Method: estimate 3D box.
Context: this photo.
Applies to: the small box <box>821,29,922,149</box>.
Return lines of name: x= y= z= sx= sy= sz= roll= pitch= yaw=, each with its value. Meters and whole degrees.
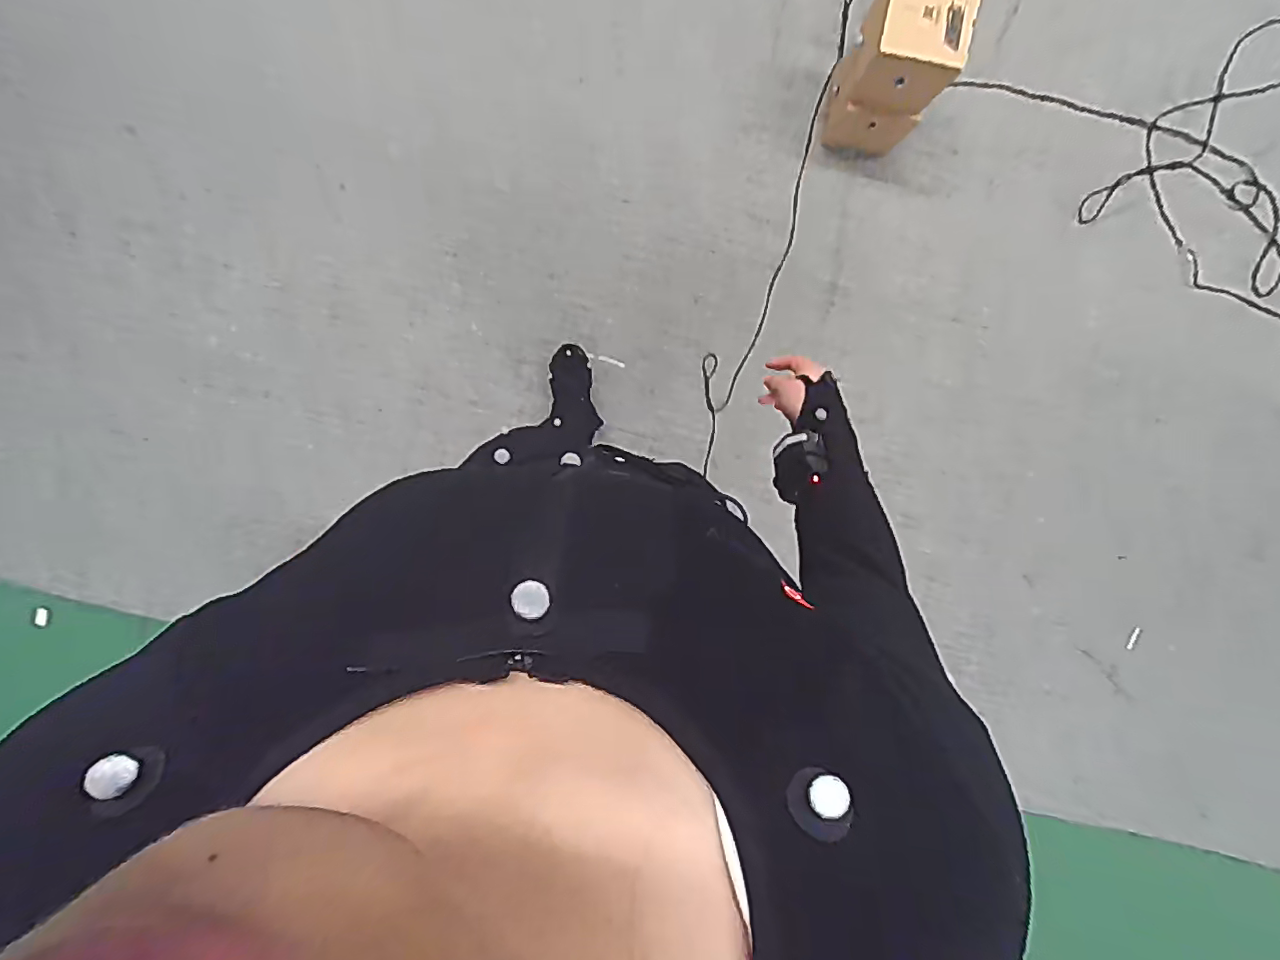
small box: x=0.543 y=-0.905 z=1.266 sx=0.179 sy=0.176 sz=0.168 roll=6 pitch=99 yaw=-2

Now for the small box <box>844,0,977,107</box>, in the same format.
small box: x=0.545 y=-0.900 z=1.101 sx=0.179 sy=0.176 sz=0.168 roll=10 pitch=97 yaw=-2
